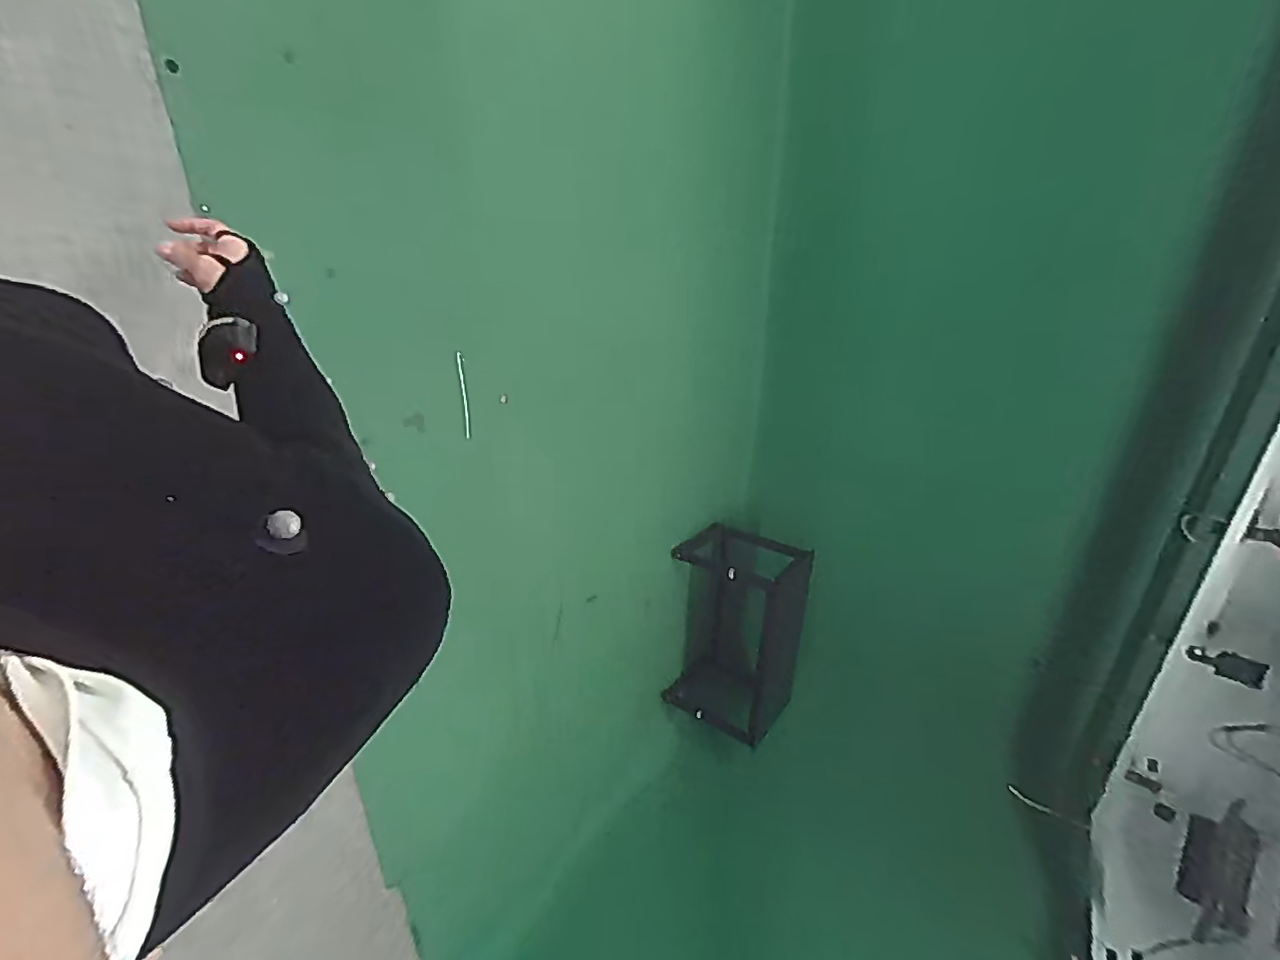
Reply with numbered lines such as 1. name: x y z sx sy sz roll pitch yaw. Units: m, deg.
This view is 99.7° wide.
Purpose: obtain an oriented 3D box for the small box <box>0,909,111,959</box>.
1. small box: -1.411 1.190 1.295 0.168 0.176 0.179 -35 131 -44
